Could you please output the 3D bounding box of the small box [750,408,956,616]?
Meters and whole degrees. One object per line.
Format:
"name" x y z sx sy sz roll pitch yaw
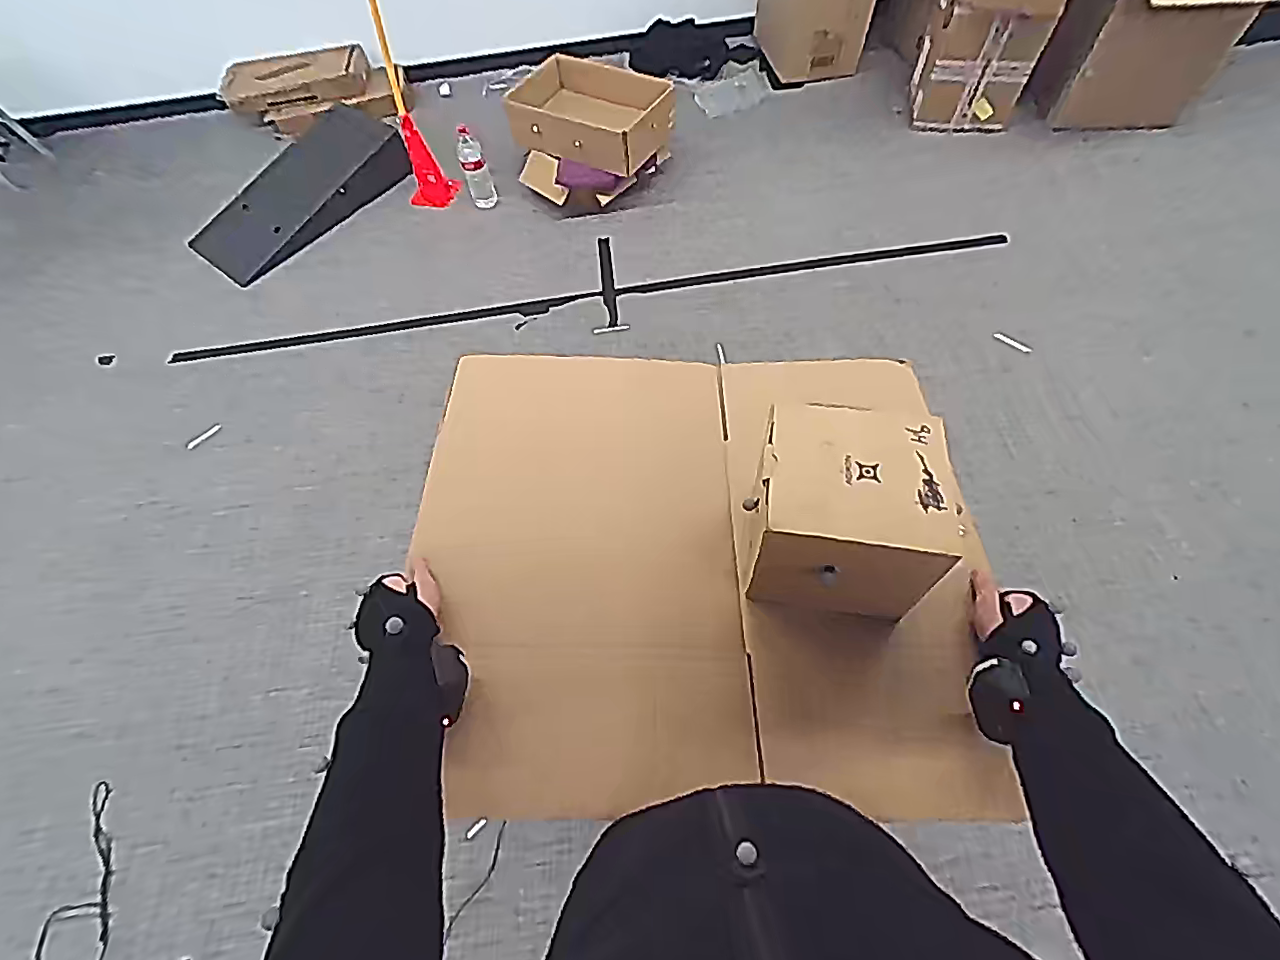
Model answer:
"small box" 0.222 0.040 0.610 0.179 0.176 0.168 6 57 9
